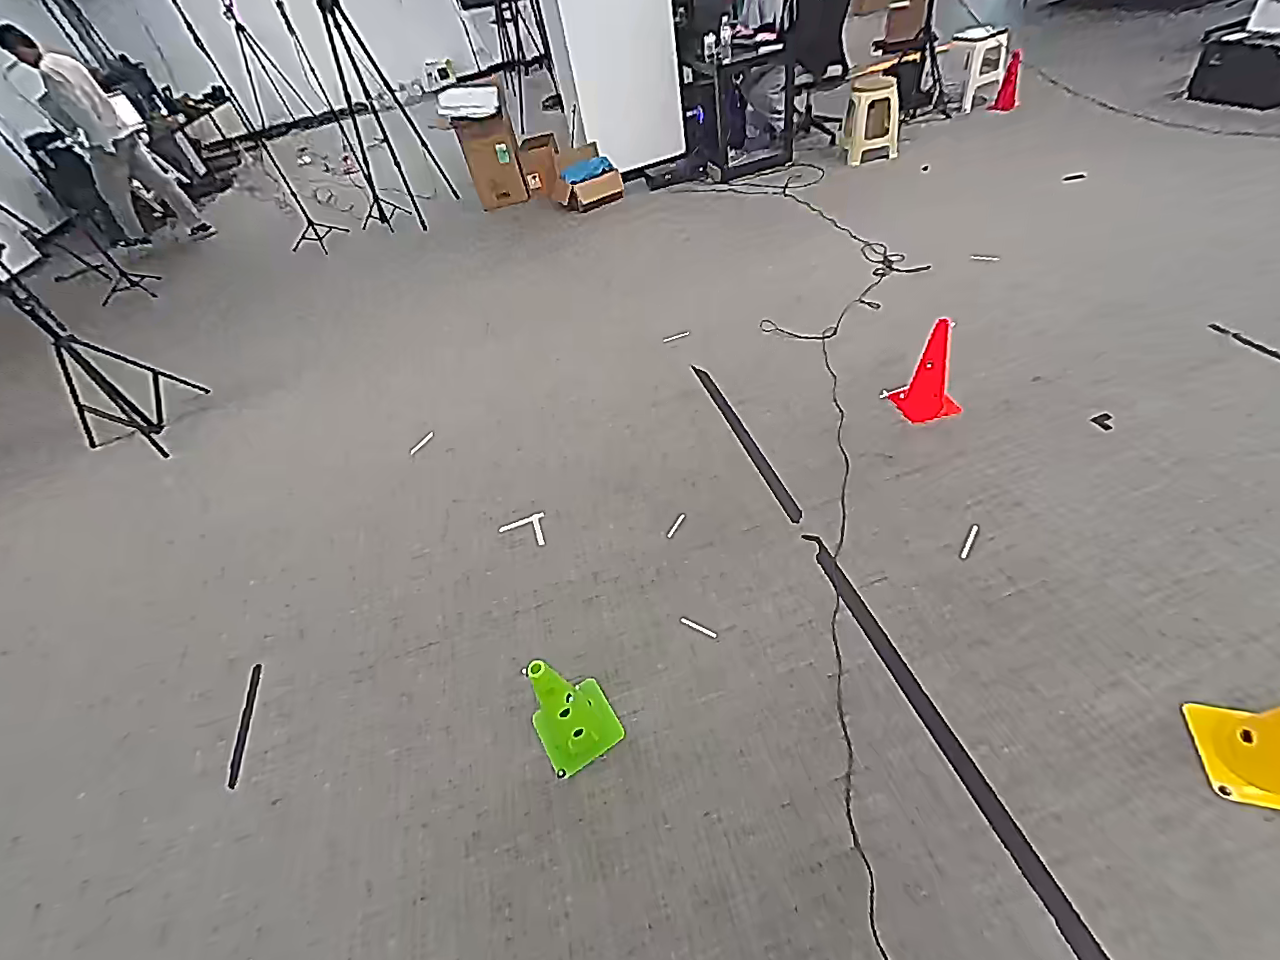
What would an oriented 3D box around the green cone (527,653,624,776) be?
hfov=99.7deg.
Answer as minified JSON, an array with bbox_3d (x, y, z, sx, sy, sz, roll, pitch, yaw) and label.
[{"bbox_3d":[-0.196,0.533,1.329,0.200,0.368,0.202,-30,45,-16],"label":"green cone"}]

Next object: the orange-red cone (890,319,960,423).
[{"bbox_3d":[1.059,-0.412,1.949,0.198,0.360,0.199,-14,45,1],"label":"orange-red cone"}]
